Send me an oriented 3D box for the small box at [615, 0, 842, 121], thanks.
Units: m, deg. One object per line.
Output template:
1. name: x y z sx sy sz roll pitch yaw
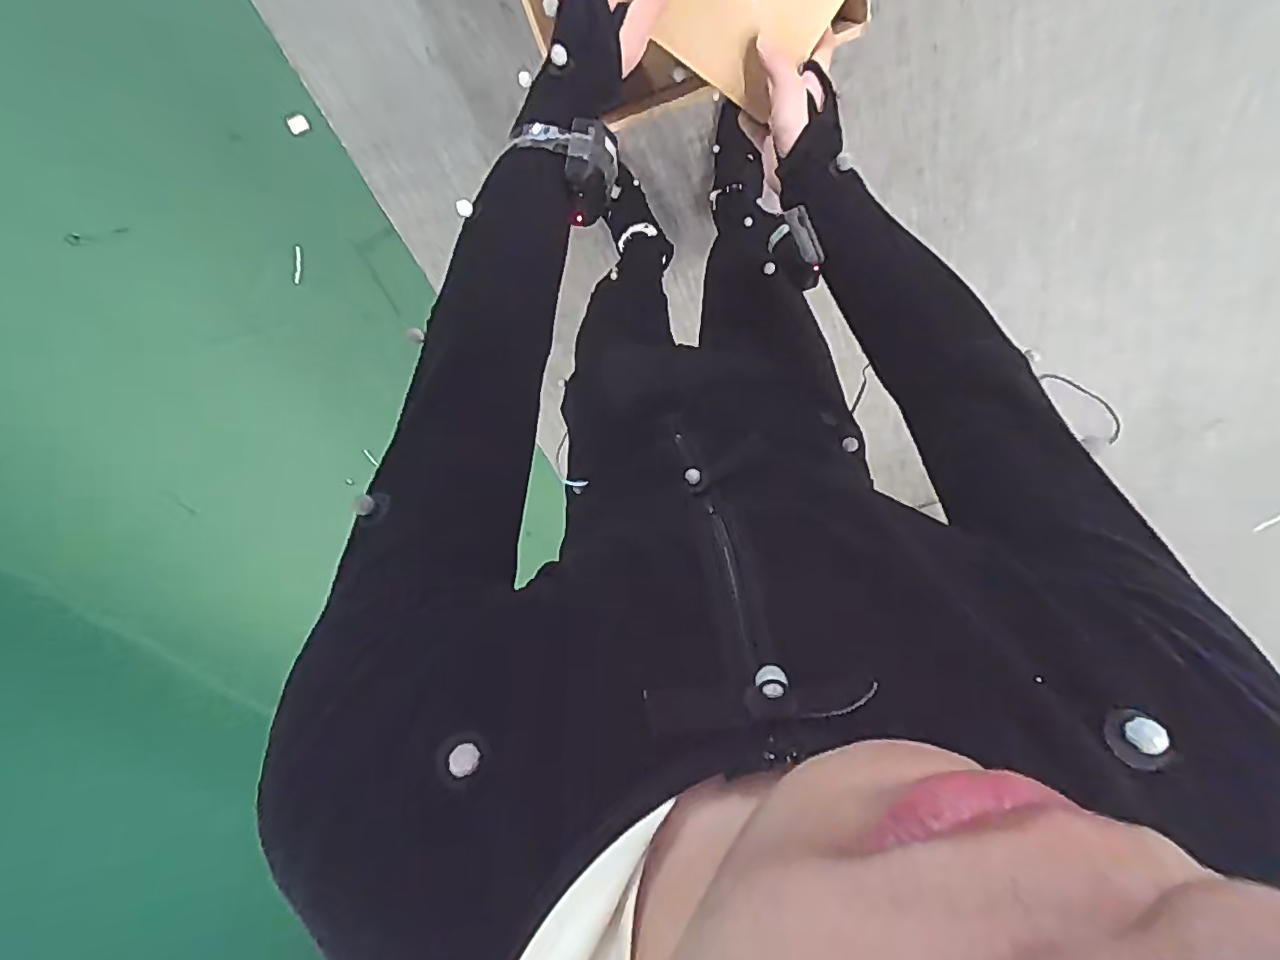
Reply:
1. small box: 0.091 -0.497 0.523 0.179 0.176 0.168 23 130 -21
